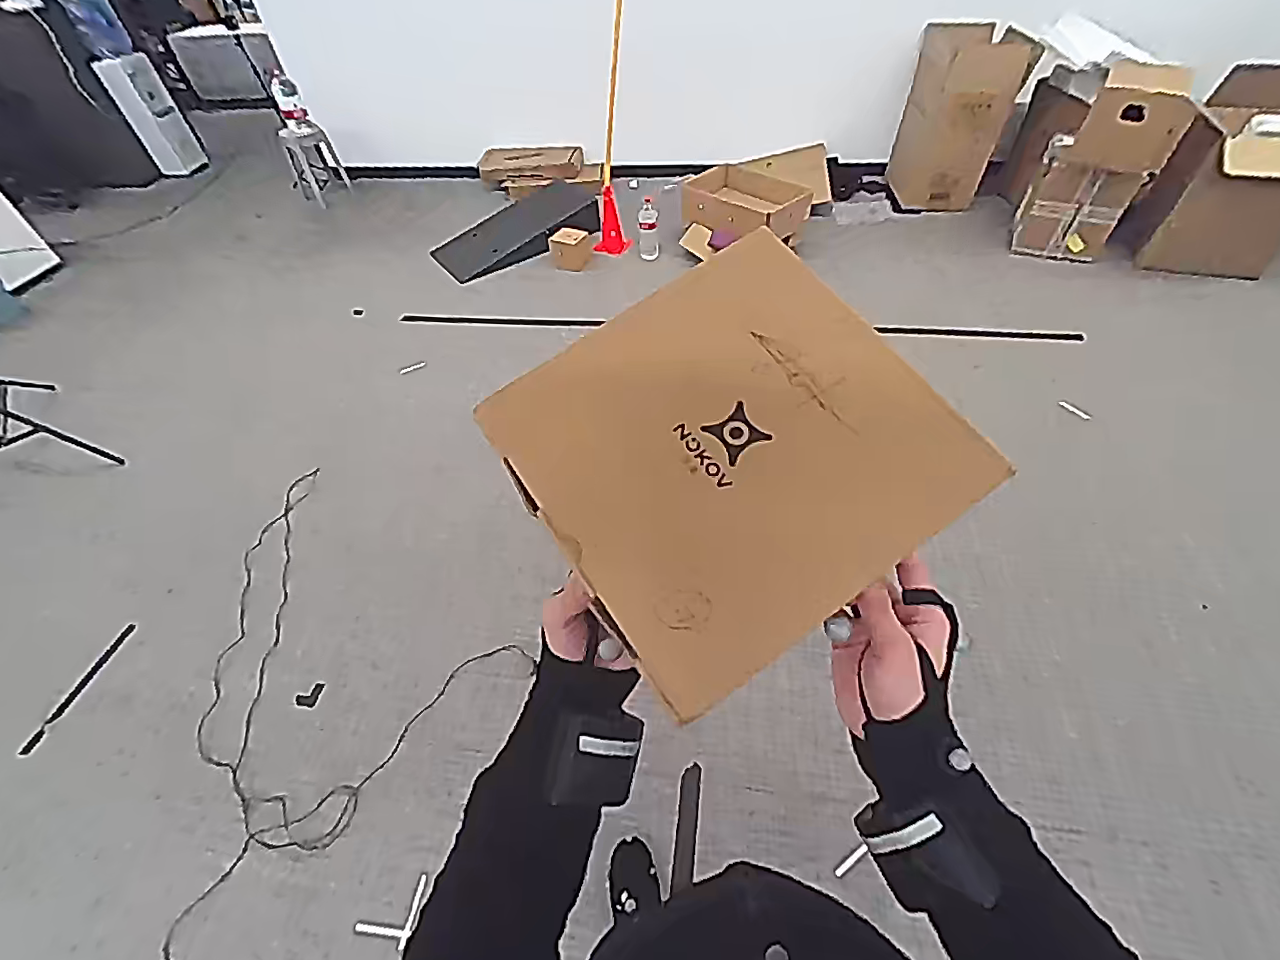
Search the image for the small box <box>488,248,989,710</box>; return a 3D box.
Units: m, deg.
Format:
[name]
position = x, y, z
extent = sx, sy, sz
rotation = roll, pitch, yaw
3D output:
[small box]
position = 0.045, 0.012, 0.324
extent = 0.179, 0.176, 0.168
rotation = -34, 73, -10
